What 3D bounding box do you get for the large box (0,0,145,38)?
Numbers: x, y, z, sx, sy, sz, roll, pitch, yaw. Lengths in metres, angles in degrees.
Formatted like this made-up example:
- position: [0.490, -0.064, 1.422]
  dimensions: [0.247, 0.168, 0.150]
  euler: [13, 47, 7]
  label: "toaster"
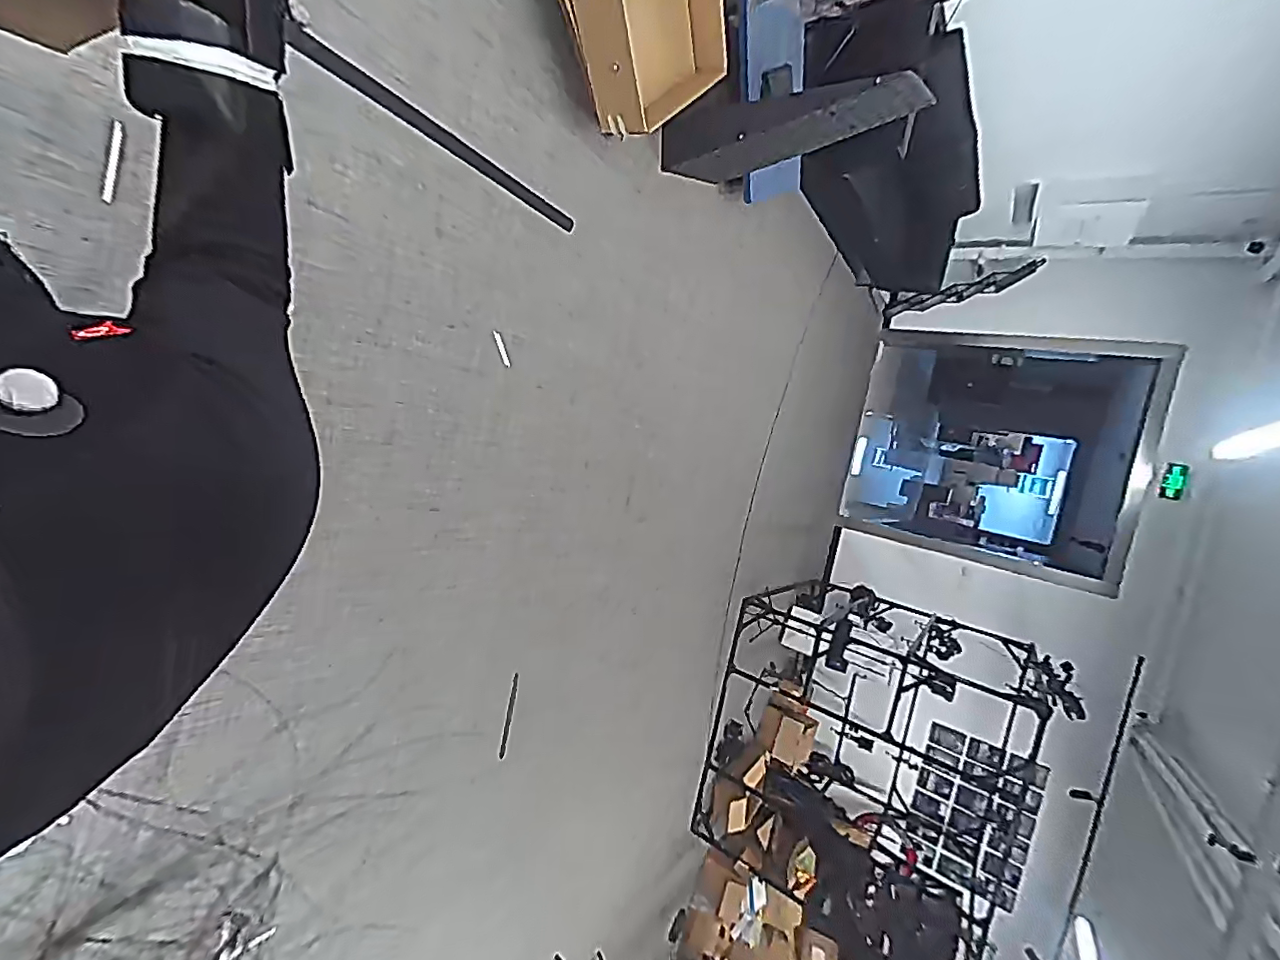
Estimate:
- position: [-0.474, -0.473, 0.209]
  dimensions: [0.408, 0.320, 0.320]
  euler: [-7, 114, -56]
  label: "large box"
